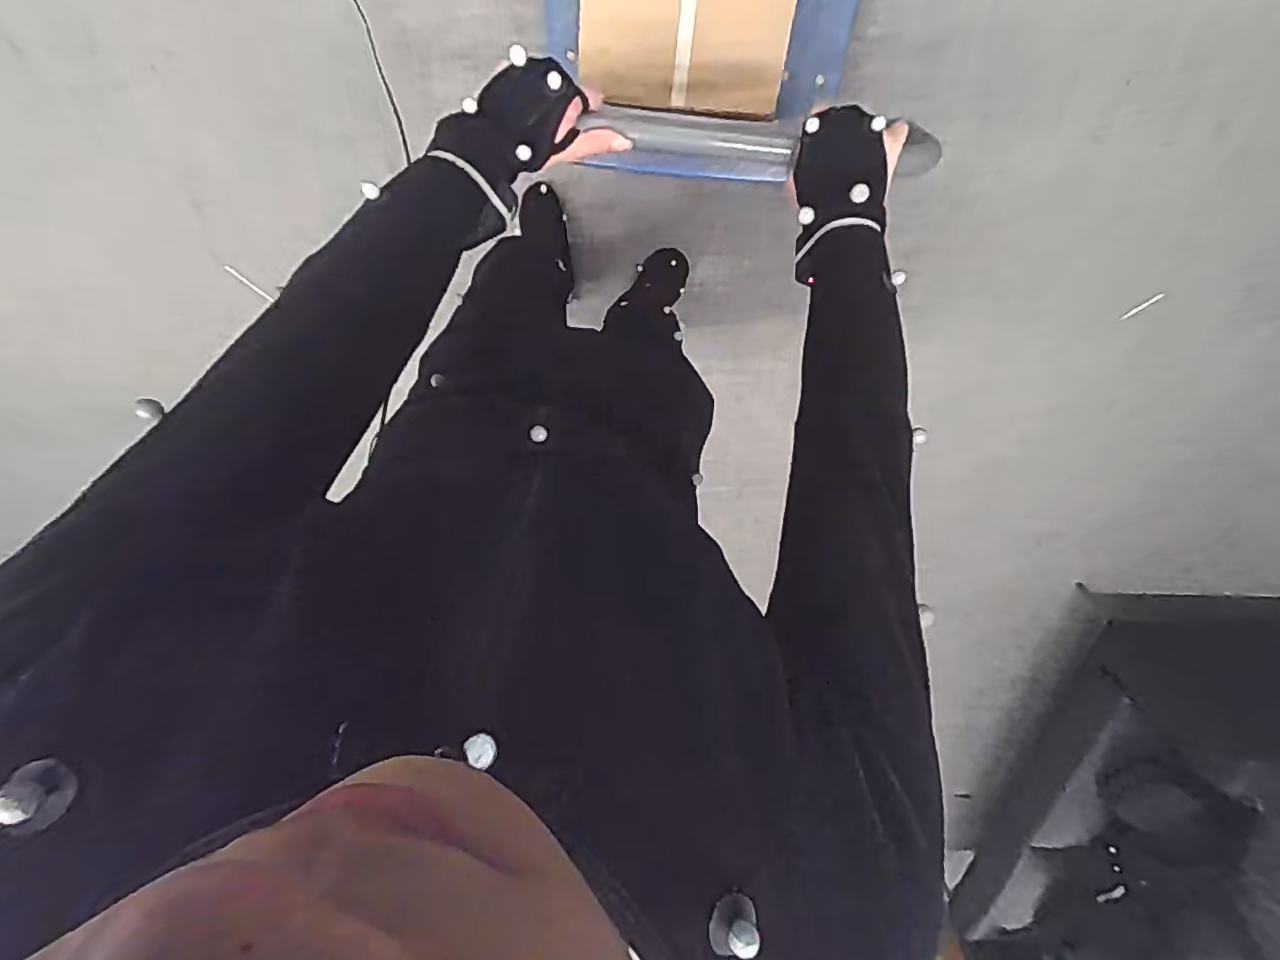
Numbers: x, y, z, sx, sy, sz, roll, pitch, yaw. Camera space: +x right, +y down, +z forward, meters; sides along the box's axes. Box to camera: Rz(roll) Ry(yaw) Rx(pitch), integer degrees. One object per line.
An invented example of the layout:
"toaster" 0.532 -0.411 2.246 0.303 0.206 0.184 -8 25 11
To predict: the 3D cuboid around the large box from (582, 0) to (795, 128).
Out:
"large box" 0.085 -0.836 0.891 0.320 0.320 0.408 6 120 -1
